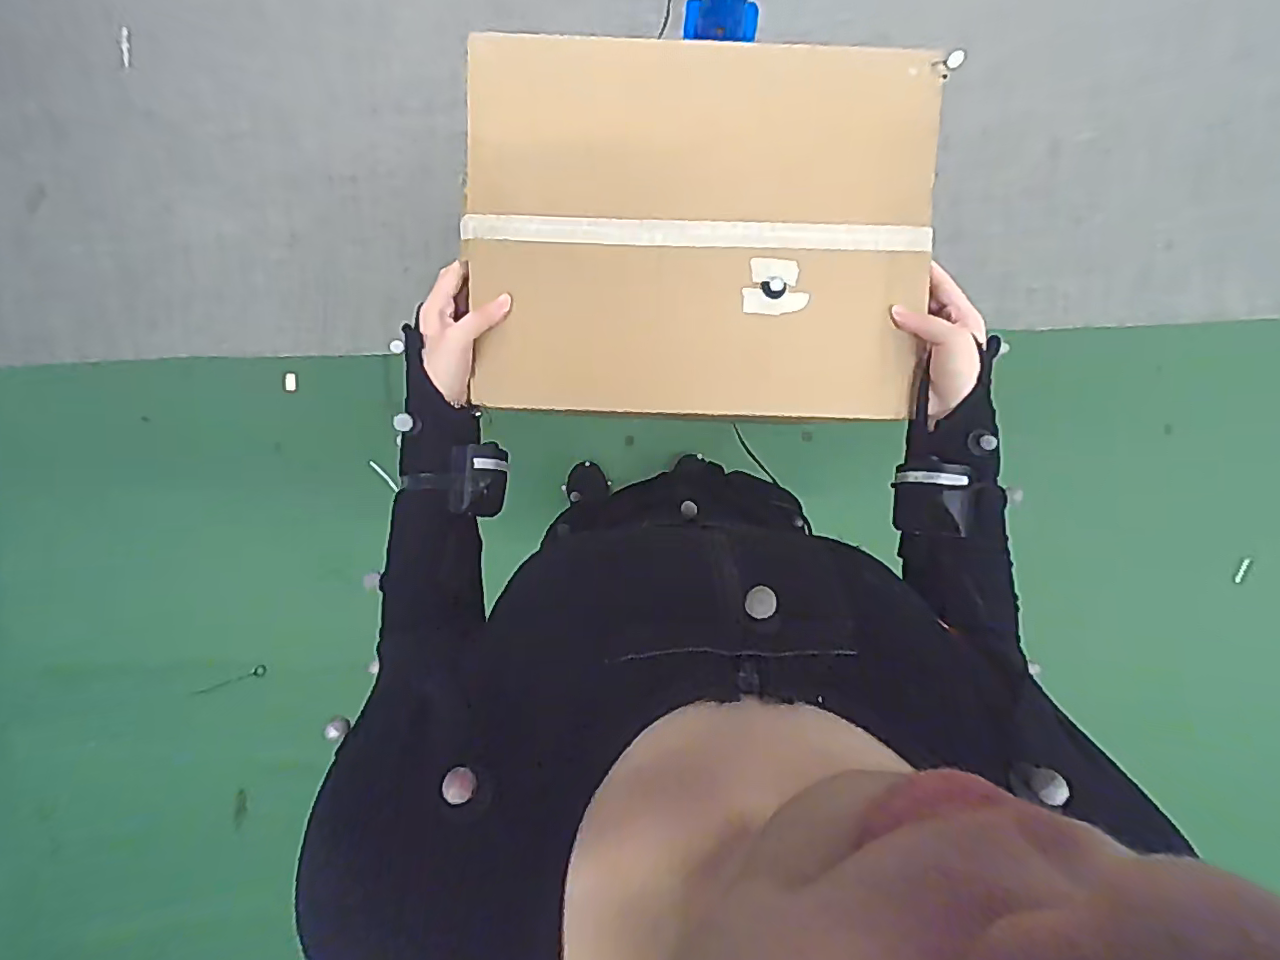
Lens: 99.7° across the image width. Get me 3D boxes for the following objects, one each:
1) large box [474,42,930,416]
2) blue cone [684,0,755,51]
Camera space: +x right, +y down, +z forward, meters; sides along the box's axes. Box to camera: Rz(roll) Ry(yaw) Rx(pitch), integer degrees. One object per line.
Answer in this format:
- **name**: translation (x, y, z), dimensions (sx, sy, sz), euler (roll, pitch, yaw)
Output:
- **large box**: translation (0.049, -0.234, 0.628), dimensions (0.408, 0.320, 0.320), euler (1, 96, -2)
- **blue cone**: translation (0.216, -1.207, 1.326), dimensions (0.193, 0.380, 0.192), euler (7, 91, 1)
